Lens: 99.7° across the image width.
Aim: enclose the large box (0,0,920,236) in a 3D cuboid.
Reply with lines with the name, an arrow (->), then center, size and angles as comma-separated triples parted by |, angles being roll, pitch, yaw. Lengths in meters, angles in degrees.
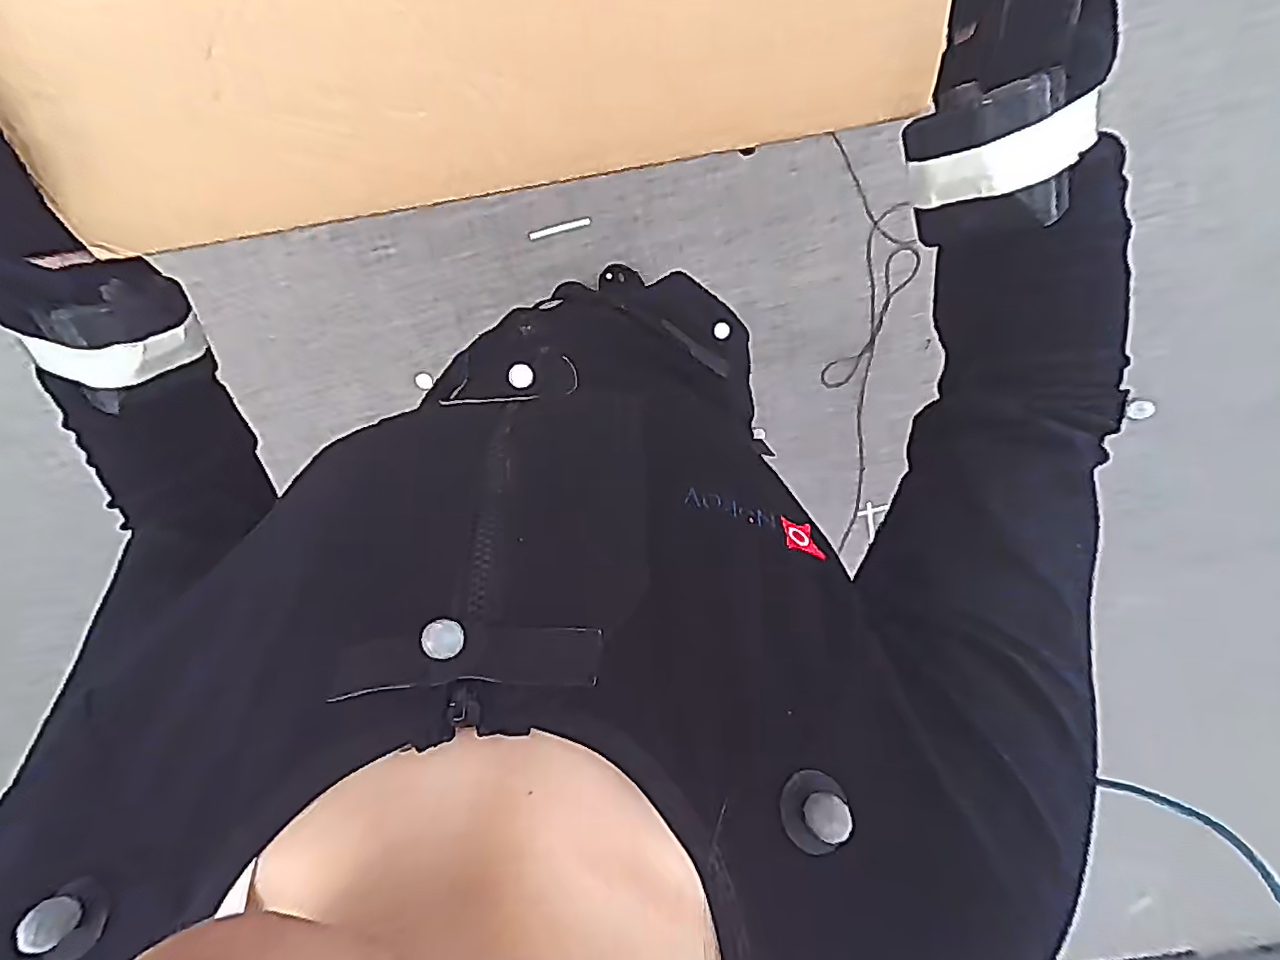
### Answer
large box -> -0.101, -0.364, 0.263 | 0.408, 0.320, 0.320 | -8, 133, 3
